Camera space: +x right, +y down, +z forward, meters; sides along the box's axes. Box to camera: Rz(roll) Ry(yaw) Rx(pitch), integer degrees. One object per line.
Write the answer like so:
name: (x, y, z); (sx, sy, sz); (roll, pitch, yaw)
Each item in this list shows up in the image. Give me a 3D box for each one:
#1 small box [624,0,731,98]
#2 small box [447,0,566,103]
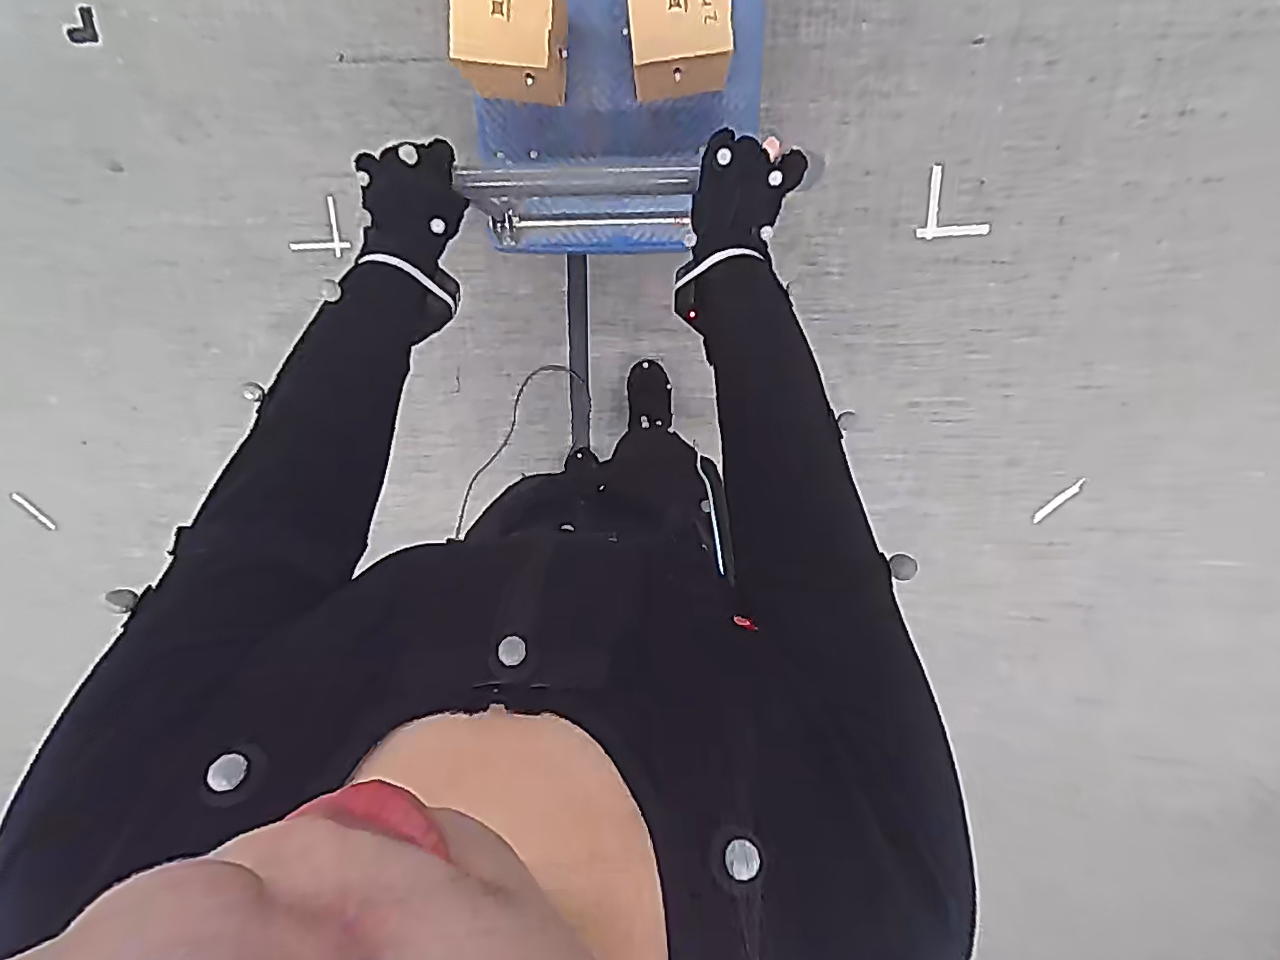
small box: (0.065, -0.823, 0.979); (0.179, 0.176, 0.168); (-5, 107, 4)
small box: (-0.239, -0.820, 0.990); (0.179, 0.176, 0.168); (5, 106, -1)
